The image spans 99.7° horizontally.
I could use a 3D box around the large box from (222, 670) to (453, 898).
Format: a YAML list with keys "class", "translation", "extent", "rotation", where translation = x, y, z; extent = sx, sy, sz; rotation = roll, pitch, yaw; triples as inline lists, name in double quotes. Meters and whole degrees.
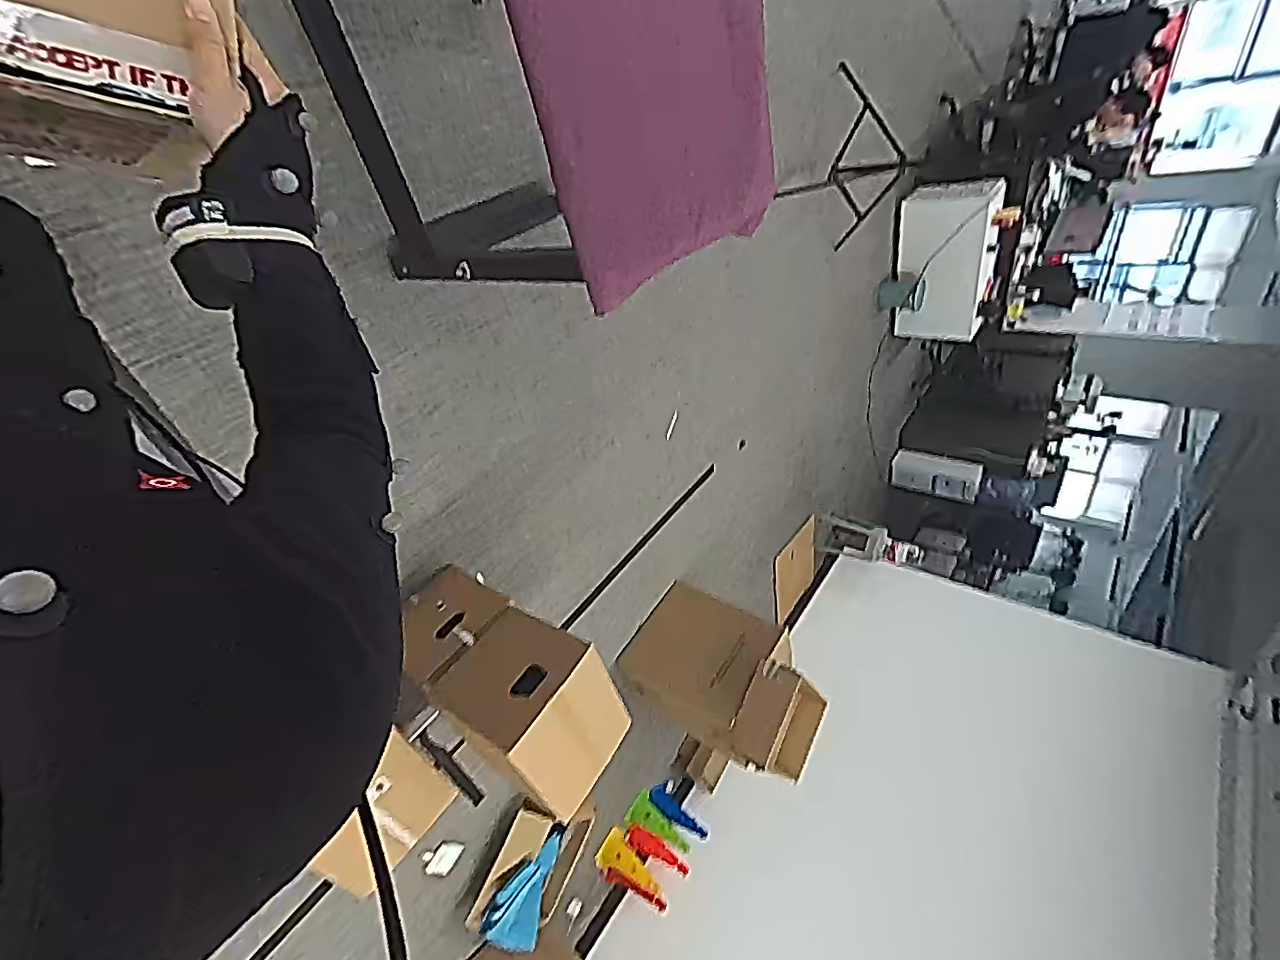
- class: "large box"
  translation: [-0.778, 0.787, 1.423]
  extent: [0.320, 0.320, 0.408]
  rotation: [-44, 134, -32]
